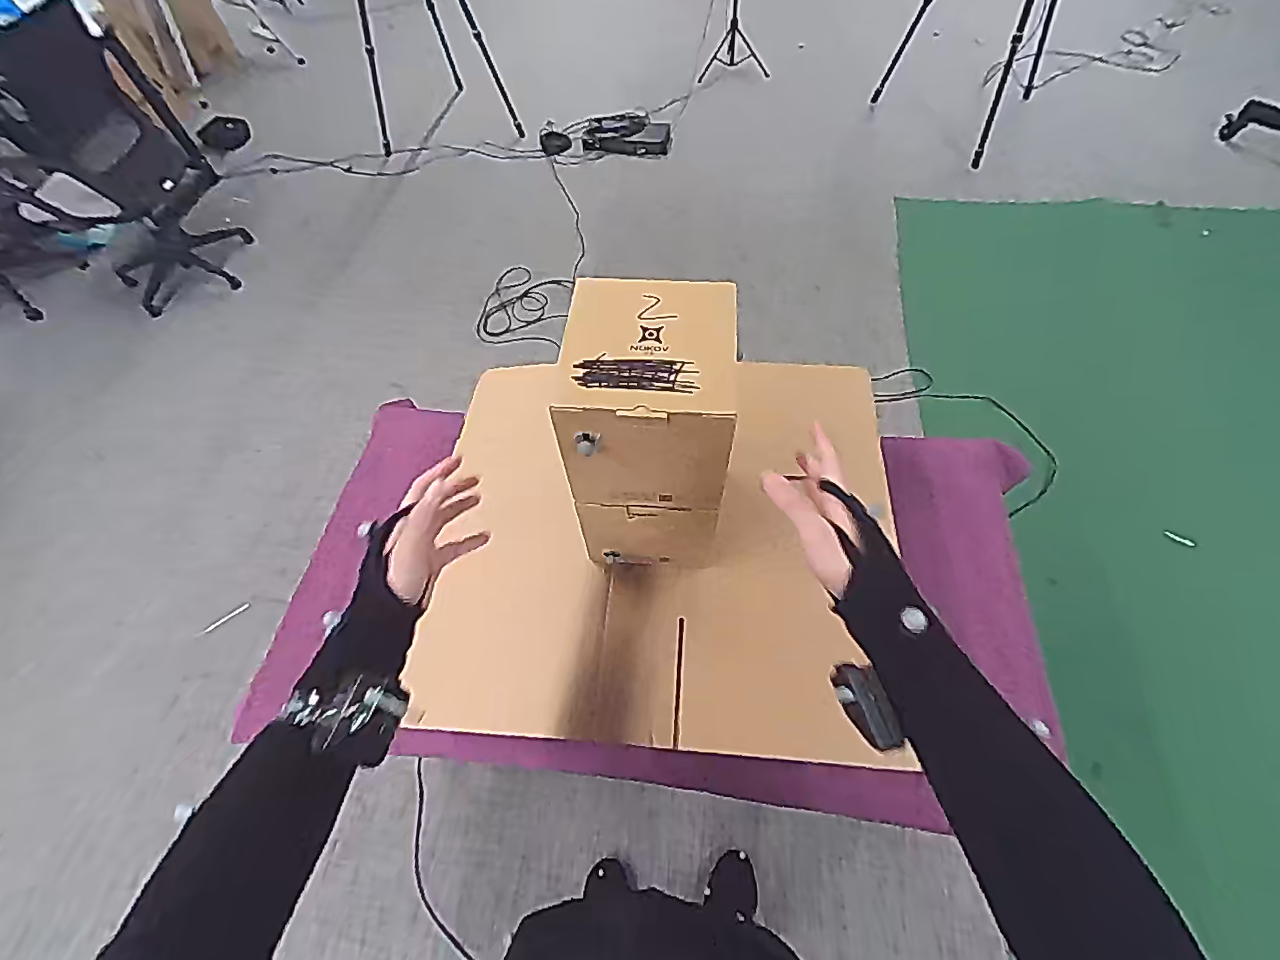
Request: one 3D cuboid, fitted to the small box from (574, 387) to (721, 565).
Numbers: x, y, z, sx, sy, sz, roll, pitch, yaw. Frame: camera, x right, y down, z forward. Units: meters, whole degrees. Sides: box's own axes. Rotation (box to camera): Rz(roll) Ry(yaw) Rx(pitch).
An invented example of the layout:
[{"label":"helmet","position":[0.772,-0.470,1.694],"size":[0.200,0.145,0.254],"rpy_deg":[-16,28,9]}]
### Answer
[{"label":"small box","position":[0.017,0.000,0.711],"size":[0.168,0.176,0.179],"rpy_deg":[3,58,4]}]
